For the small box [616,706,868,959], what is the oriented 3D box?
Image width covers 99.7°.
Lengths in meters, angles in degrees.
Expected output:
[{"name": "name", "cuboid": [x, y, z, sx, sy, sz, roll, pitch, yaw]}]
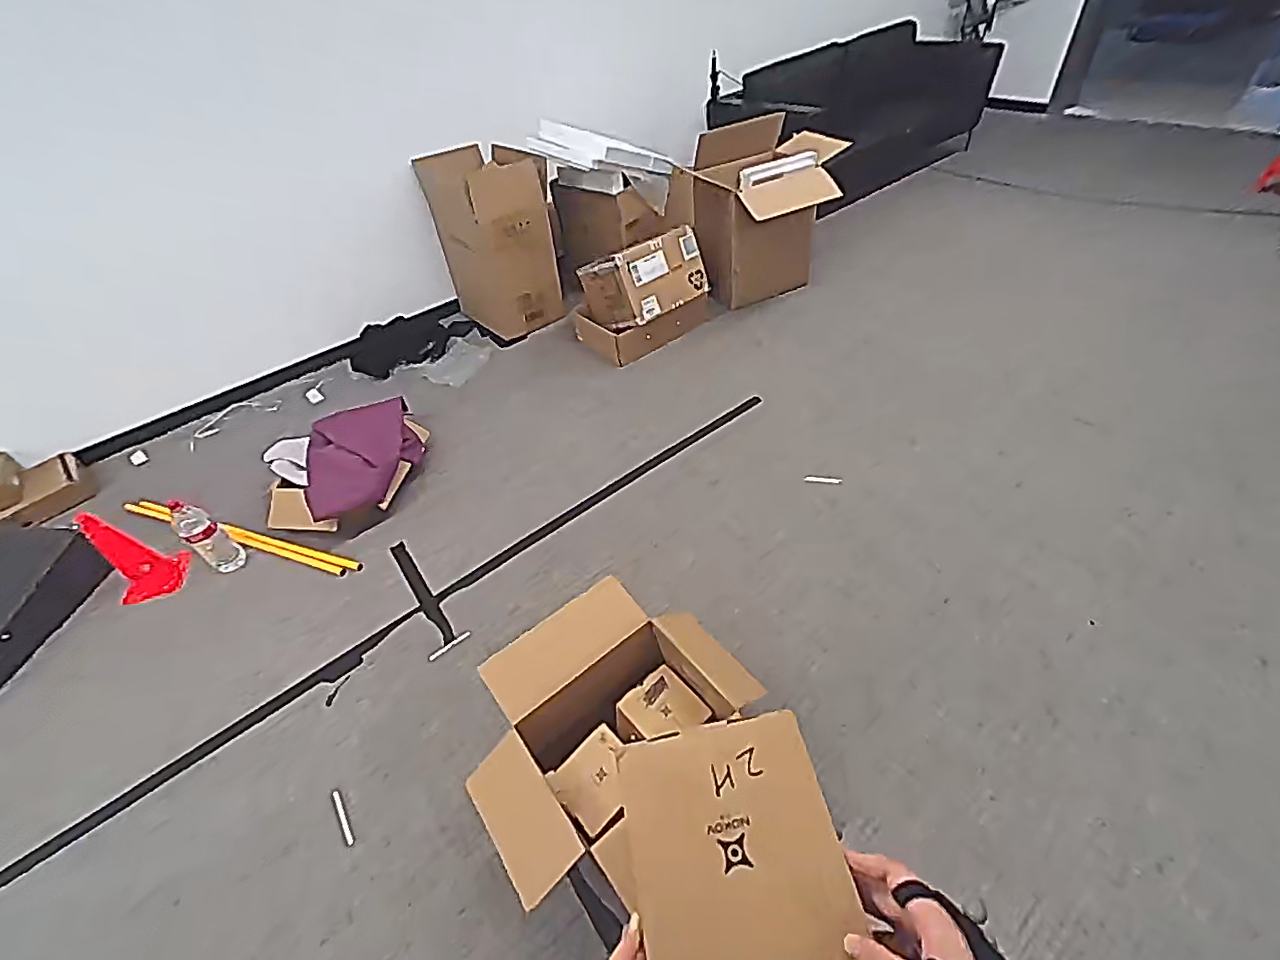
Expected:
[{"name": "small box", "cuboid": [0.076, 0.334, 0.497, 0.168, 0.176, 0.179, -10, 52, -5]}]
